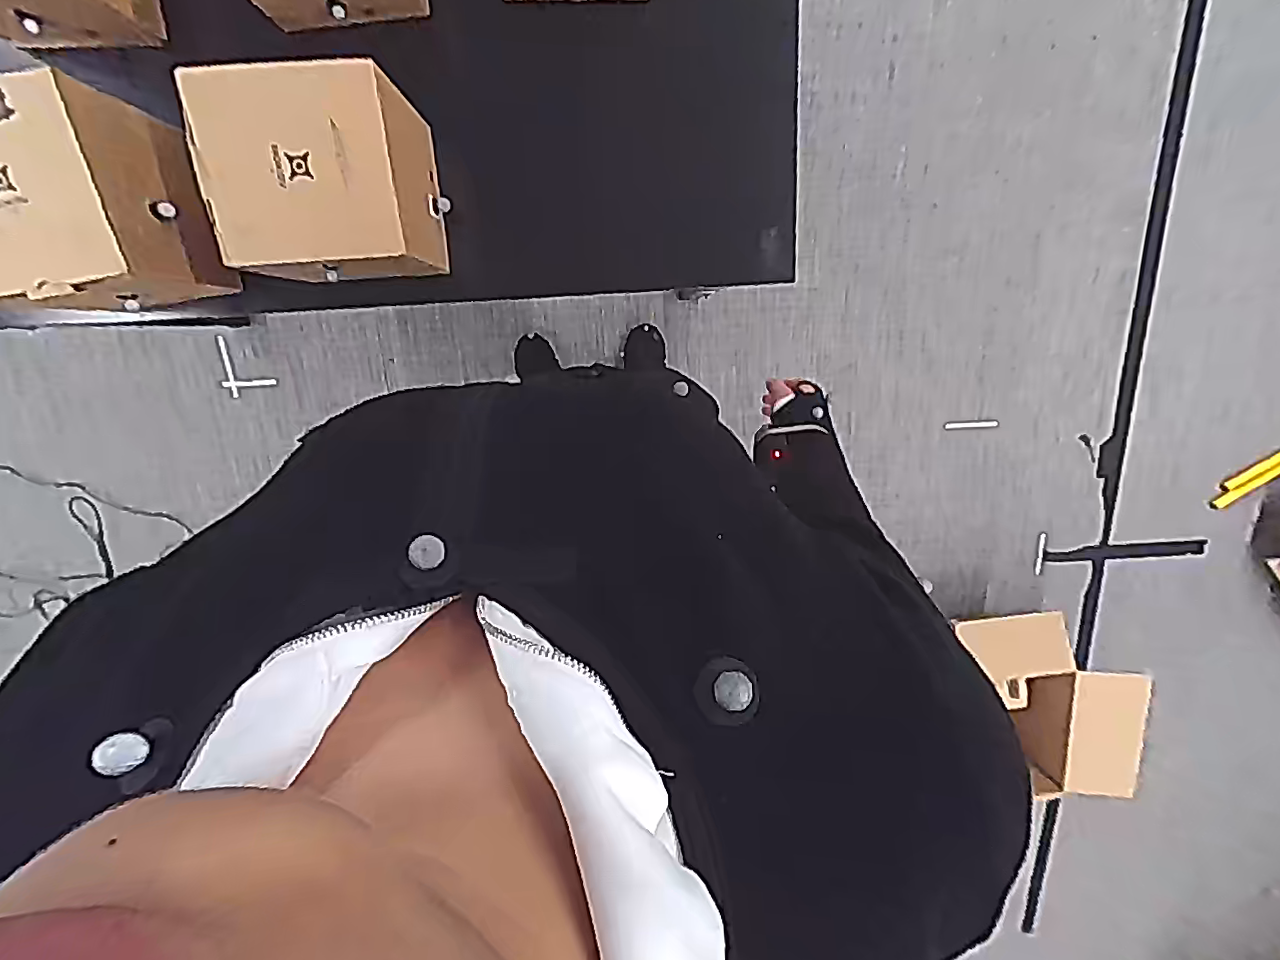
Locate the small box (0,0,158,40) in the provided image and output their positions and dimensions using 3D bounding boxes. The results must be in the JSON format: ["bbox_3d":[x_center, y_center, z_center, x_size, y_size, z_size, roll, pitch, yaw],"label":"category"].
[{"bbox_3d":[-0.606,-0.549,0.494,0.168,0.176,0.179,-3,106,-3],"label":"small box"}]

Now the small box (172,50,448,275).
[{"bbox_3d":[-0.325,-0.317,0.574,0.179,0.176,0.168,-5,106,-3],"label":"small box"}]

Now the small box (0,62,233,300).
[{"bbox_3d":[-0.581,-0.289,0.566,0.168,0.176,0.179,-10,106,-1],"label":"small box"}]
